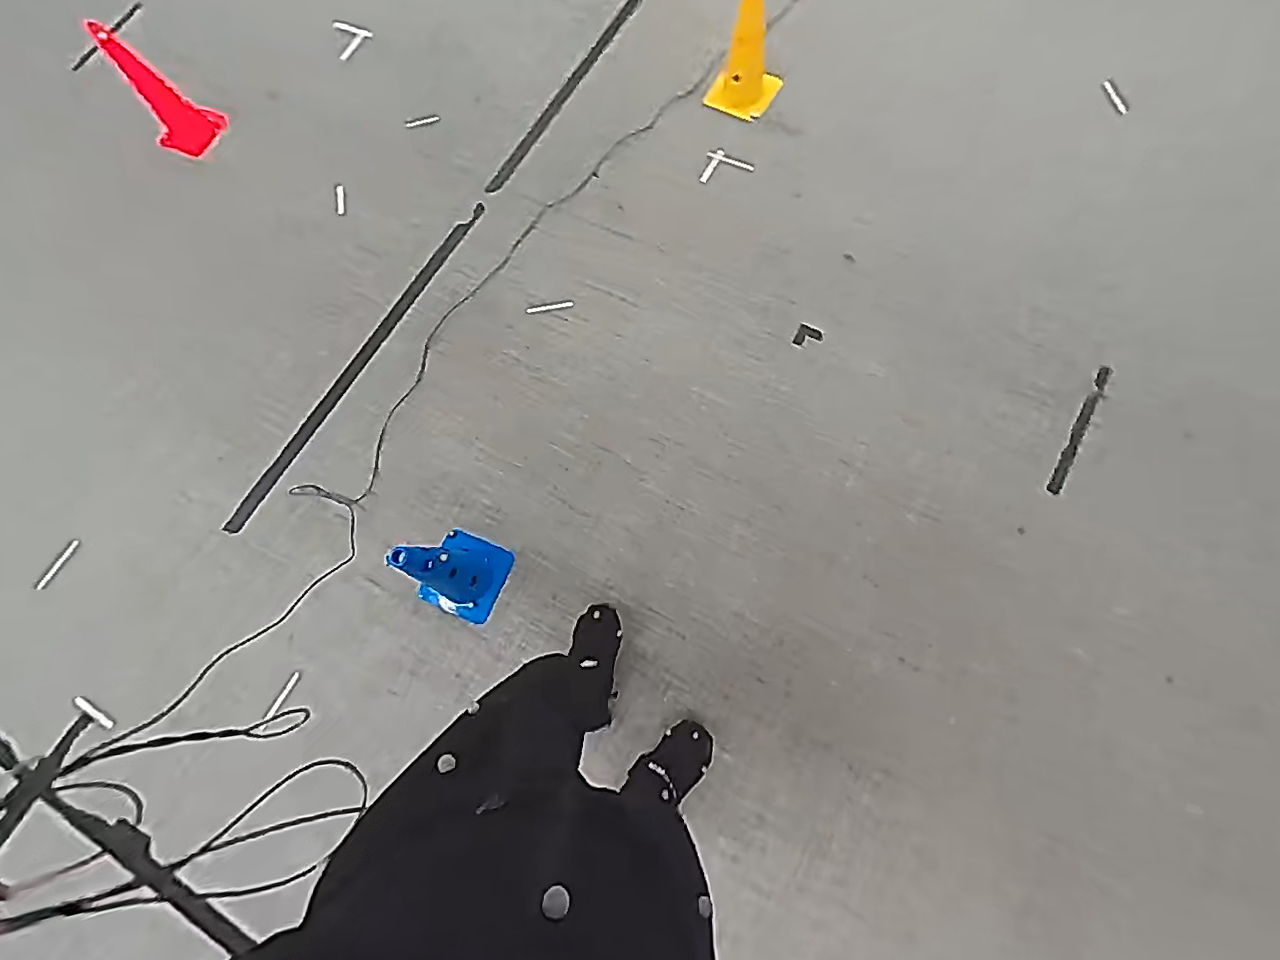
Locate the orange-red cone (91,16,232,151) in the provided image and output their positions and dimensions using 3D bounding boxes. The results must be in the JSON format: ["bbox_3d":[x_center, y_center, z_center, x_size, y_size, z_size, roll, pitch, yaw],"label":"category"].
[{"bbox_3d":[-1.598,-1.317,1.774,0.198,0.360,0.199,23,78,12],"label":"orange-red cone"}]

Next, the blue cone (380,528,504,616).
[{"bbox_3d":[-0.470,0.191,1.238,0.192,0.380,0.193,23,77,11],"label":"blue cone"}]
